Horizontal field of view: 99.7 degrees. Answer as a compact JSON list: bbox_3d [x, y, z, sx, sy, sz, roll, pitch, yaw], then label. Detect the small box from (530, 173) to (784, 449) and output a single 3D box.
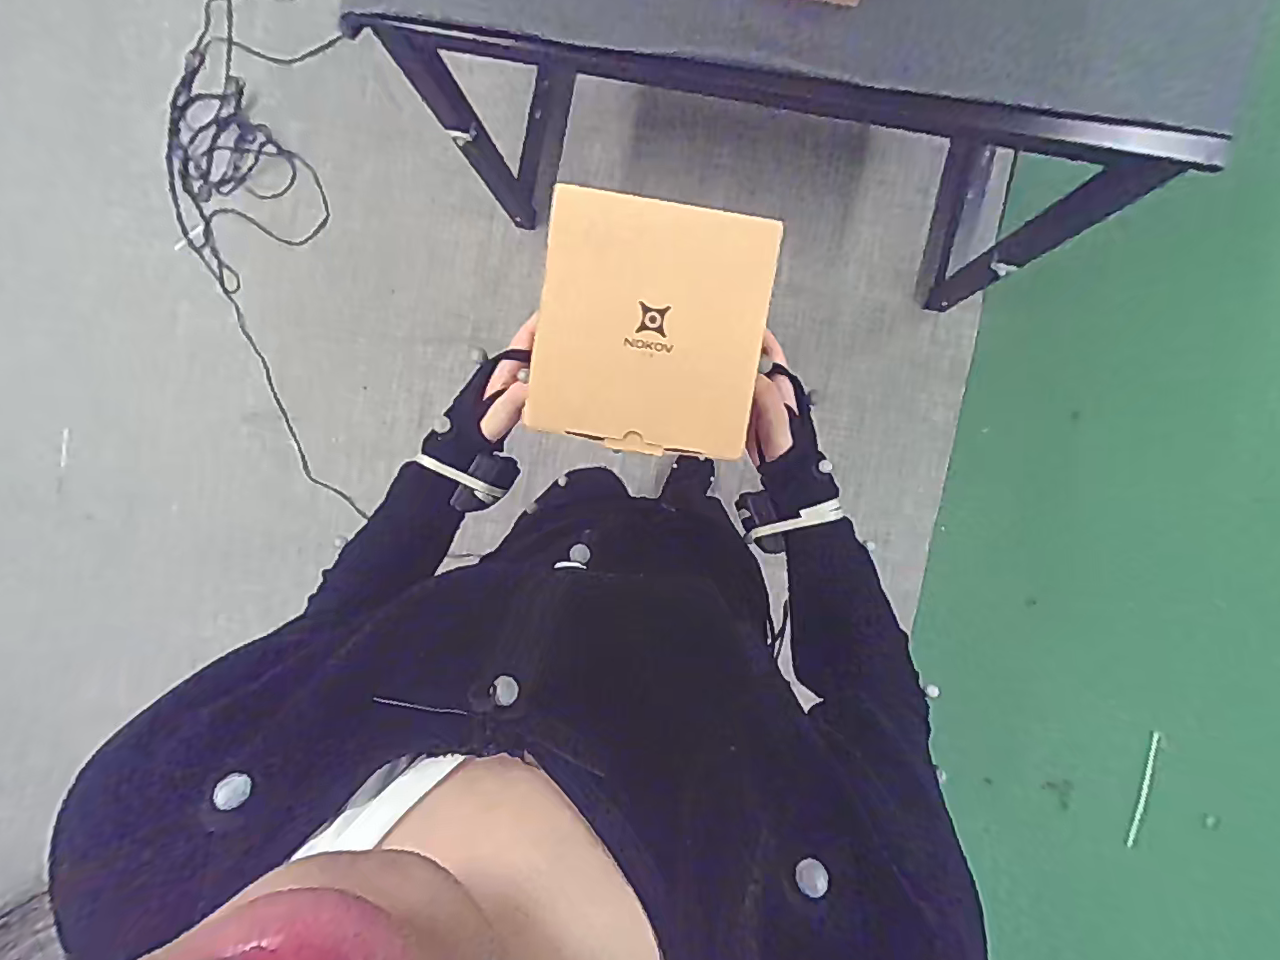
[{"bbox_3d":[0.009,-0.126,0.466,0.168,0.176,0.179,7,96,-2],"label":"small box"}]
